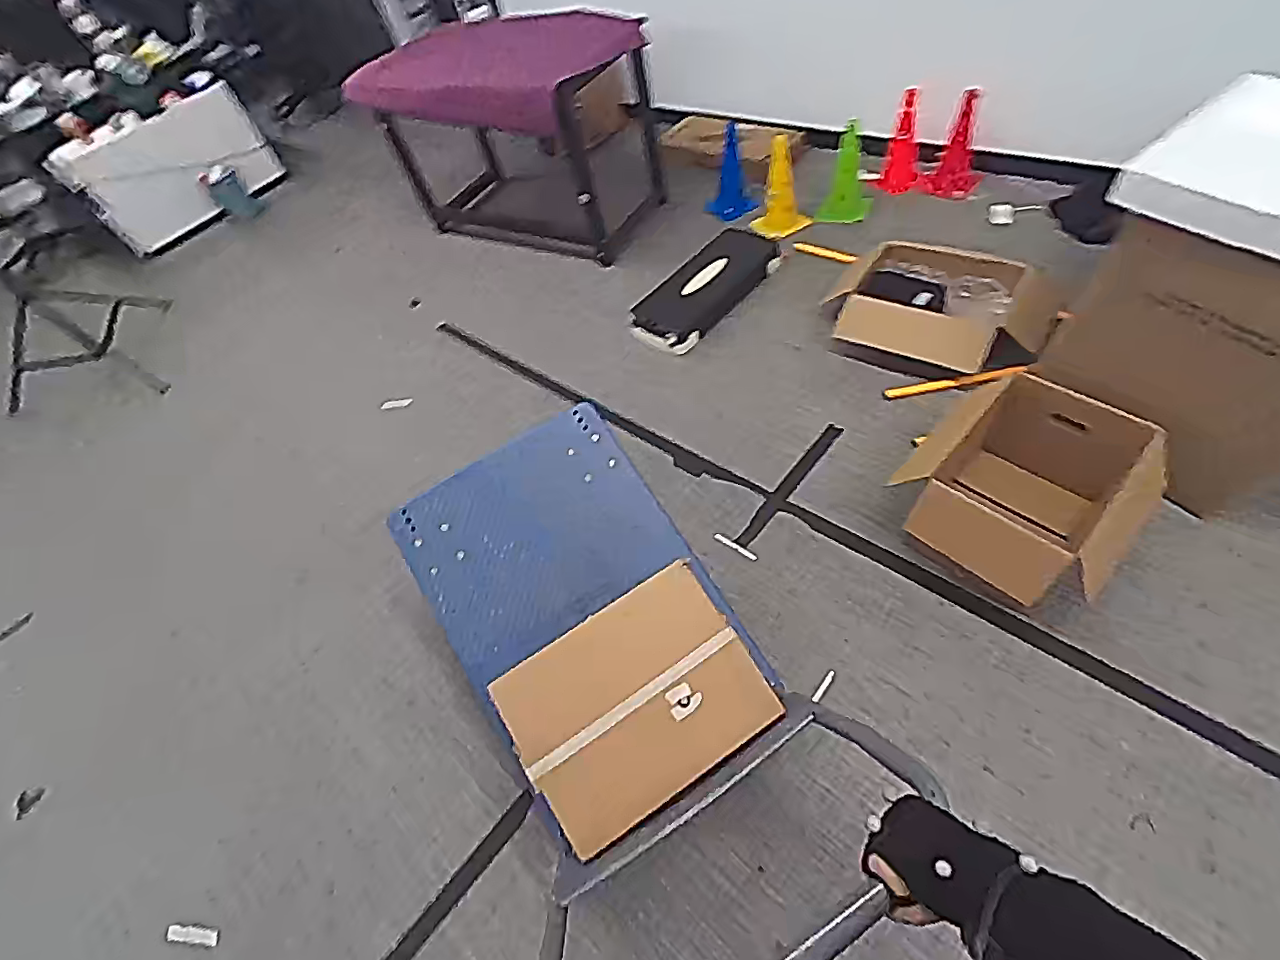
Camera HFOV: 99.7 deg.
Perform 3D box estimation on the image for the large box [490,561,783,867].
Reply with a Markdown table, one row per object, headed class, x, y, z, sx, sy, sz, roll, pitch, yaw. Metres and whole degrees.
| class | x | y | z | sx | sy | sz | roll | pitch | yaw |
| --- | --- | --- | --- | --- | --- | --- | --- | --- | --- |
| large box | -0.010 | 0.416 | 1.037 | 0.408 | 0.320 | 0.320 | -32 | 77 | -11 |
